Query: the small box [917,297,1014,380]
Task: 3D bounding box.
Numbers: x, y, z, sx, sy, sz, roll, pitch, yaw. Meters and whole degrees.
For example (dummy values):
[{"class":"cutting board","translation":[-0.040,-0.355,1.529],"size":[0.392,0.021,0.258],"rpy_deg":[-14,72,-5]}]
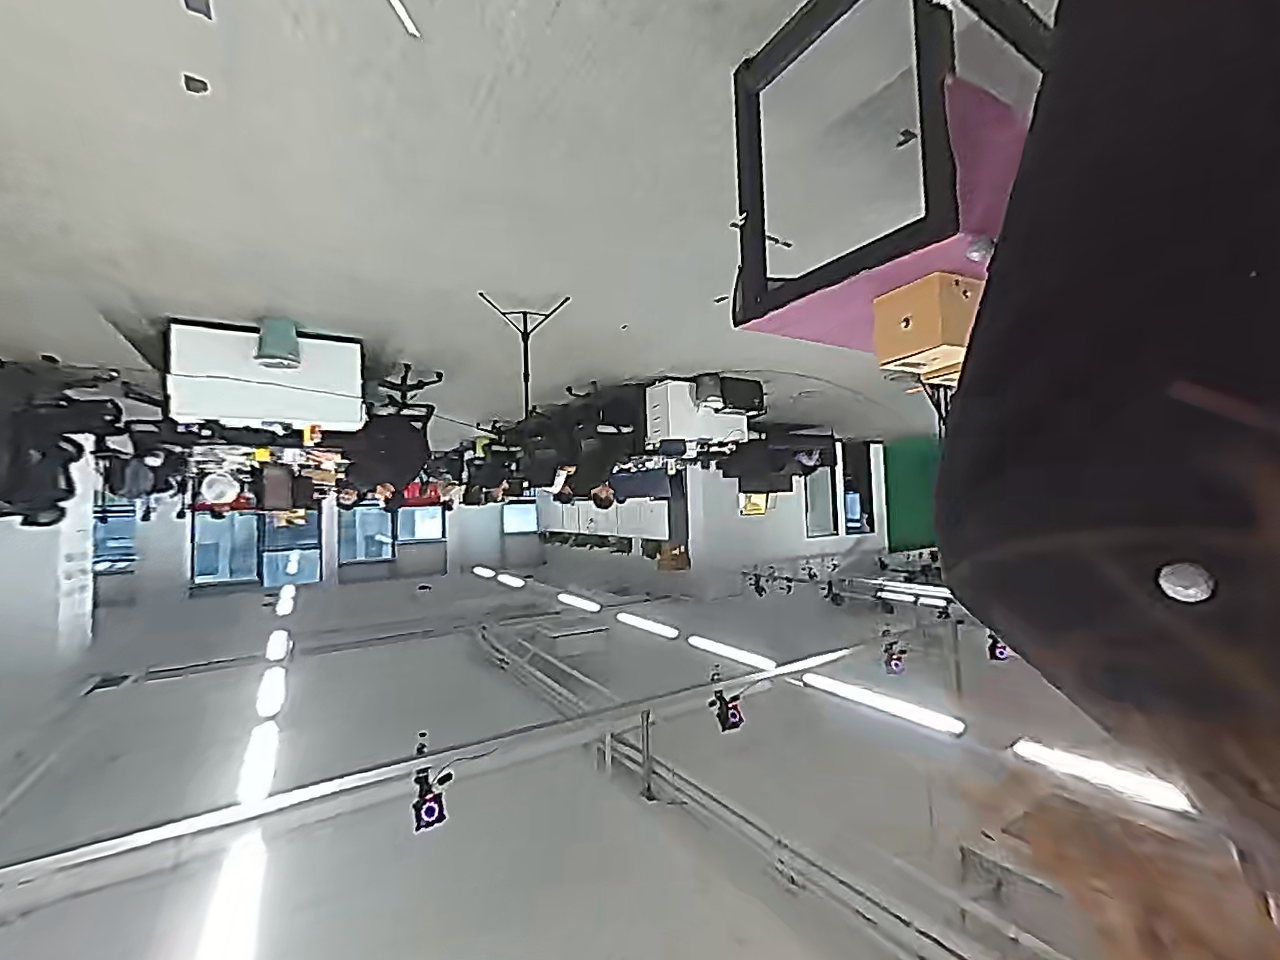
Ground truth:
[{"class":"small box","translation":[0.880,-0.379,1.470],"size":[0.168,0.176,0.179],"rpy_deg":[-1,177,-27]}]
